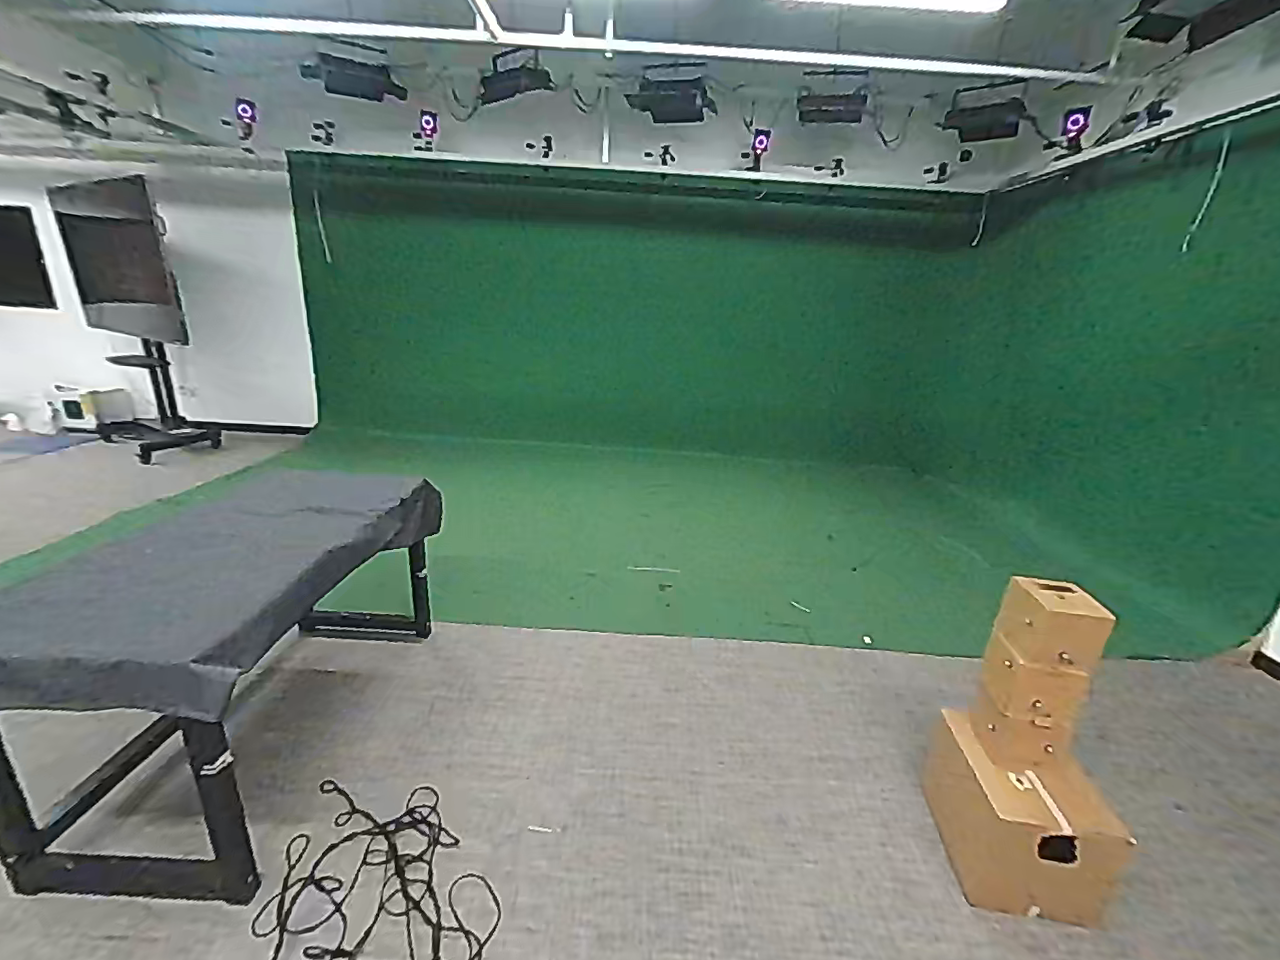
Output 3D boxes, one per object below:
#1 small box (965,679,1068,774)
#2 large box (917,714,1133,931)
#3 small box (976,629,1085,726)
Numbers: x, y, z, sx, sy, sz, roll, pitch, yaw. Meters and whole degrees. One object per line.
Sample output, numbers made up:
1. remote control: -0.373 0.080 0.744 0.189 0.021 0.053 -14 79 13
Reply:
1. small box: 1.065 0.703 1.544 0.168 0.176 0.179 7 17 6
2. large box: 1.055 0.954 1.553 0.320 0.320 0.408 4 19 6
3. small box: 1.069 0.546 1.501 0.168 0.176 0.179 7 19 8
